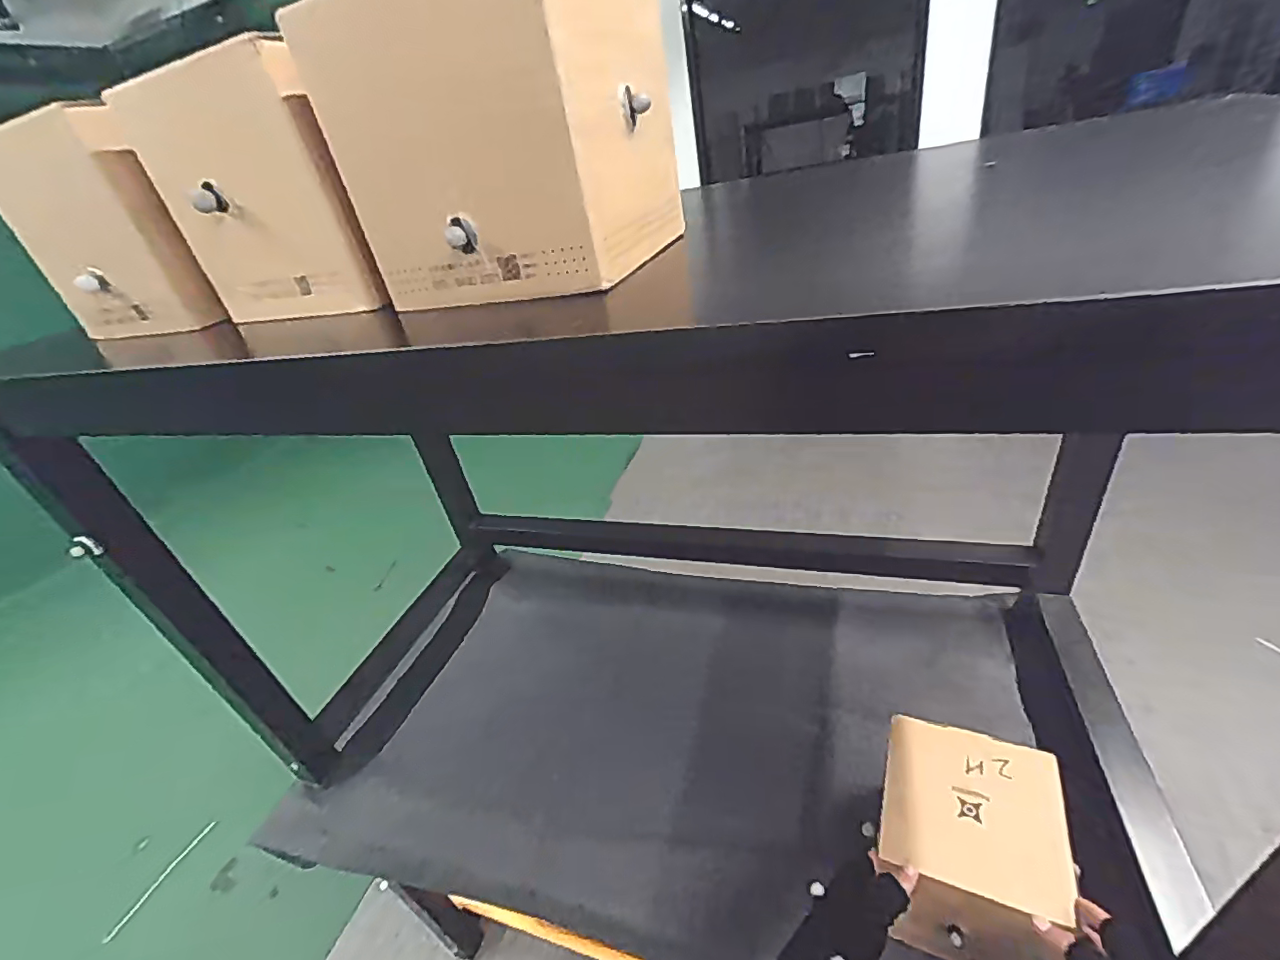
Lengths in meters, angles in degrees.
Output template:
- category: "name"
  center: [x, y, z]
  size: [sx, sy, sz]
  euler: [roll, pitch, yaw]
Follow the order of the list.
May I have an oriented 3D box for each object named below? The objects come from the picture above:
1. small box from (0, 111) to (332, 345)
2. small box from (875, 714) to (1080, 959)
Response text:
- category: "small box"
  center: [-0.439, -0.241, 0.527]
  size: [0.168, 0.176, 0.179]
  euler: [3, 35, 22]
- category: "small box"
  center: [0.362, 0.408, 0.606]
  size: [0.168, 0.176, 0.179]
  euler: [6, 35, 27]
